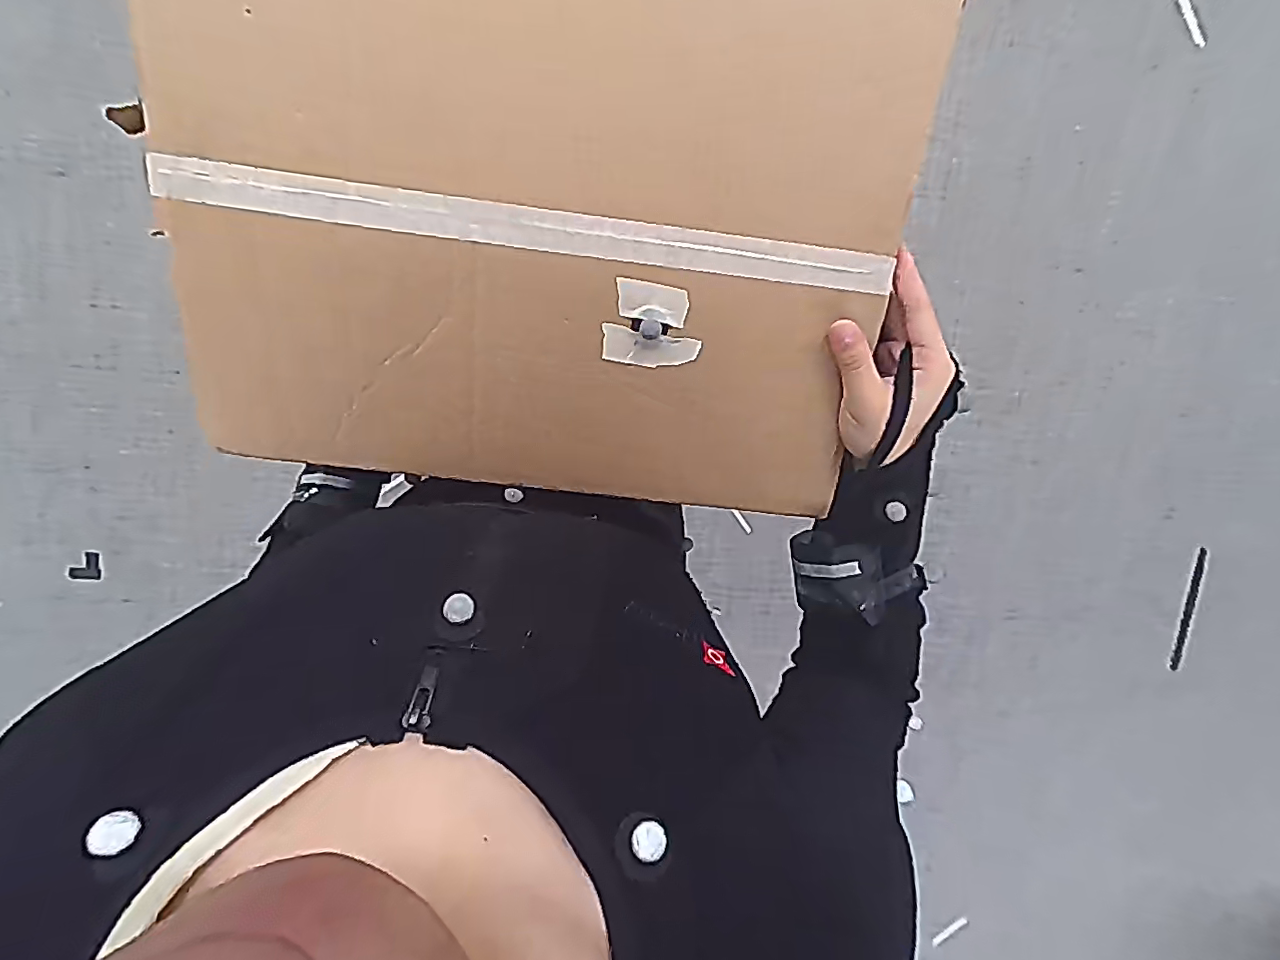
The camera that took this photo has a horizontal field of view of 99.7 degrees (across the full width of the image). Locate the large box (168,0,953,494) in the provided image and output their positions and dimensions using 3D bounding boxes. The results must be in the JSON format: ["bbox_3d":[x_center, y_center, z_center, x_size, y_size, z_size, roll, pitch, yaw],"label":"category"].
[{"bbox_3d":[-0.055,-0.199,0.450,0.408,0.320,0.320,5,111,-5],"label":"large box"}]
